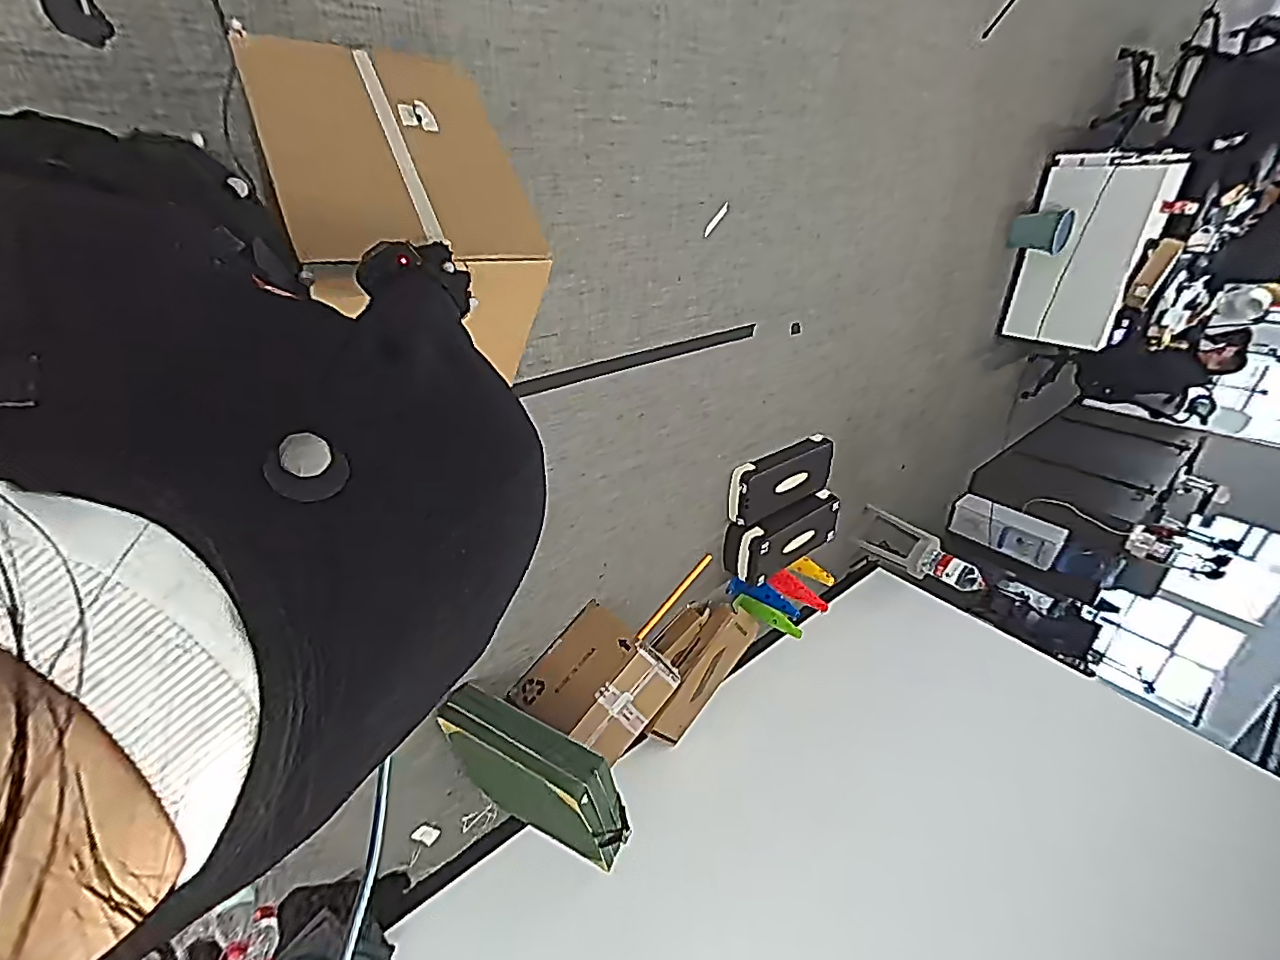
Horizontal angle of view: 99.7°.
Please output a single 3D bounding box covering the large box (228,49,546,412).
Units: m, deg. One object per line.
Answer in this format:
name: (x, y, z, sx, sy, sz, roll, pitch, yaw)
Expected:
large box: (-0.397, -0.375, 0.867, 0.320, 0.408, 0.320, -16, 161, -32)
